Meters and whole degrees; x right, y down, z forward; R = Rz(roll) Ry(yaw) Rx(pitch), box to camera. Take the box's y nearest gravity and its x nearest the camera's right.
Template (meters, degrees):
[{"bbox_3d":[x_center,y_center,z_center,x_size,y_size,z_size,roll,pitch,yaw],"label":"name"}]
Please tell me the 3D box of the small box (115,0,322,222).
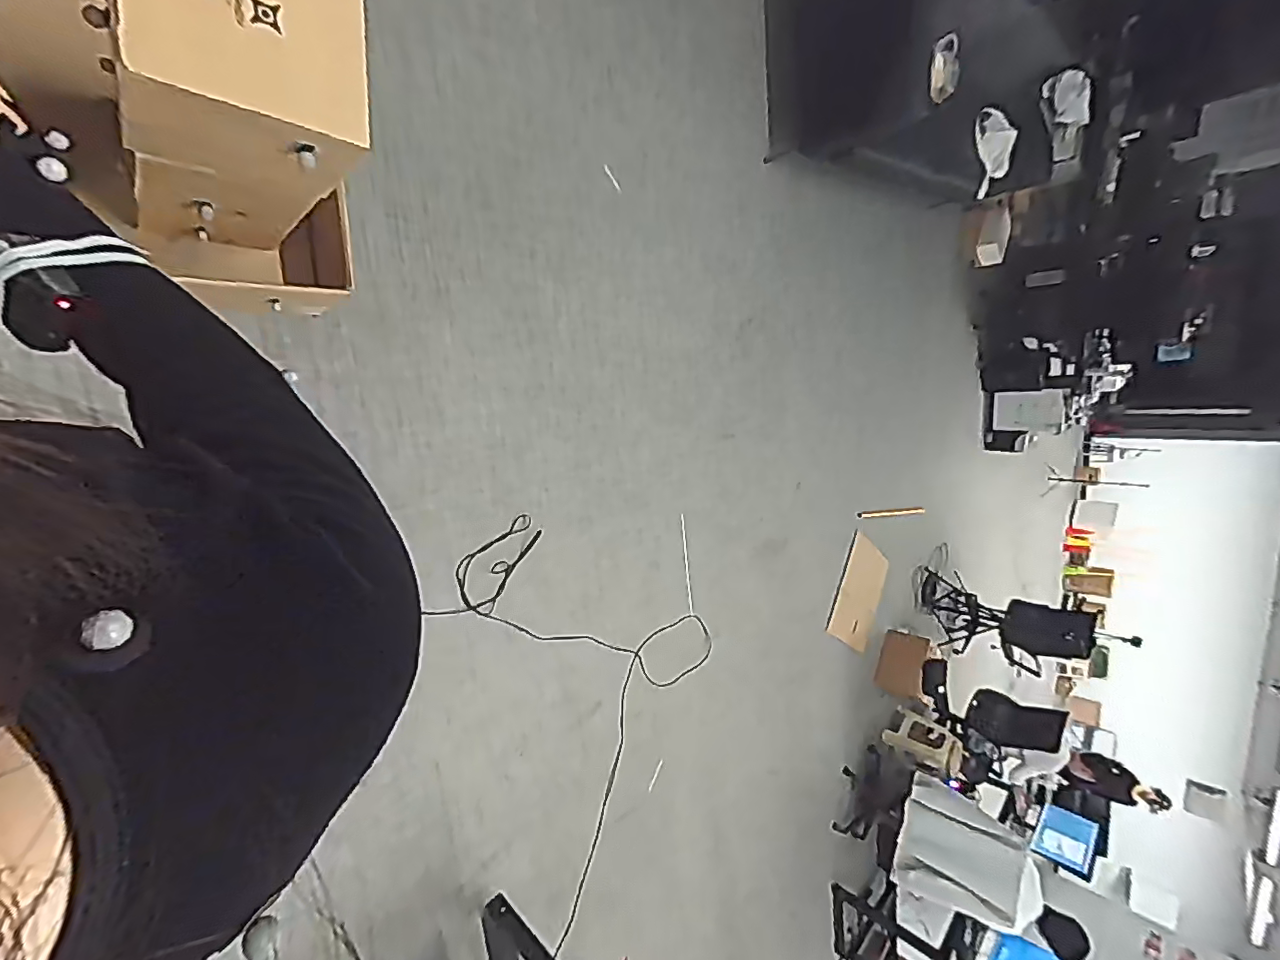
[{"bbox_3d":[-0.483,-0.422,0.622,0.168,0.176,0.179,-7,102,-41],"label":"small box"}]
